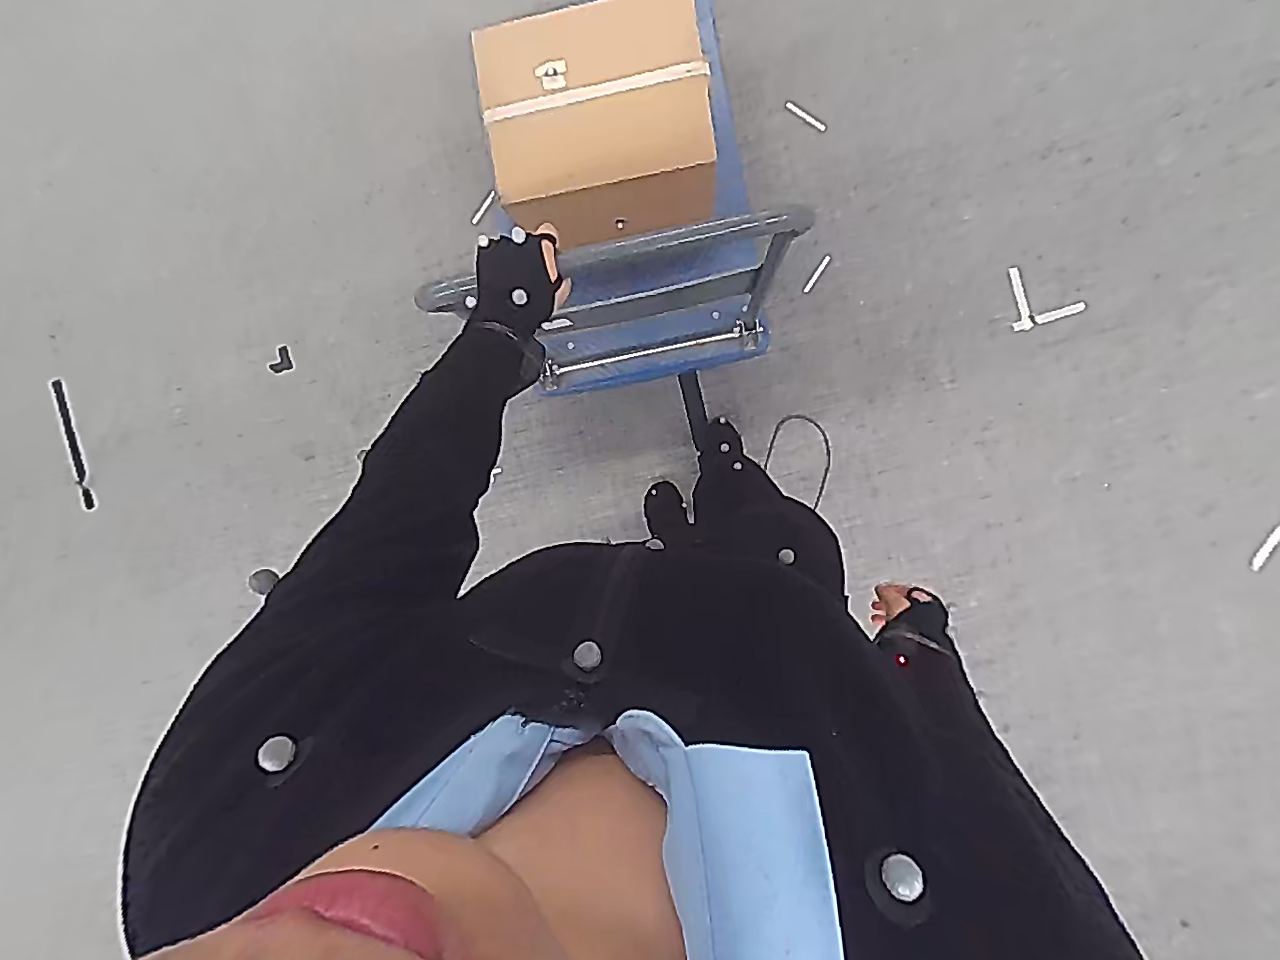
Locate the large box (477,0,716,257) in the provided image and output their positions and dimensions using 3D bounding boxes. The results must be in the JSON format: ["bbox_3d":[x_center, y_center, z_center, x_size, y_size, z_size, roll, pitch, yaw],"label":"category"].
[{"bbox_3d":[-0.066,-0.703,1.129,0.408,0.320,0.320,-9,92,7],"label":"large box"}]
